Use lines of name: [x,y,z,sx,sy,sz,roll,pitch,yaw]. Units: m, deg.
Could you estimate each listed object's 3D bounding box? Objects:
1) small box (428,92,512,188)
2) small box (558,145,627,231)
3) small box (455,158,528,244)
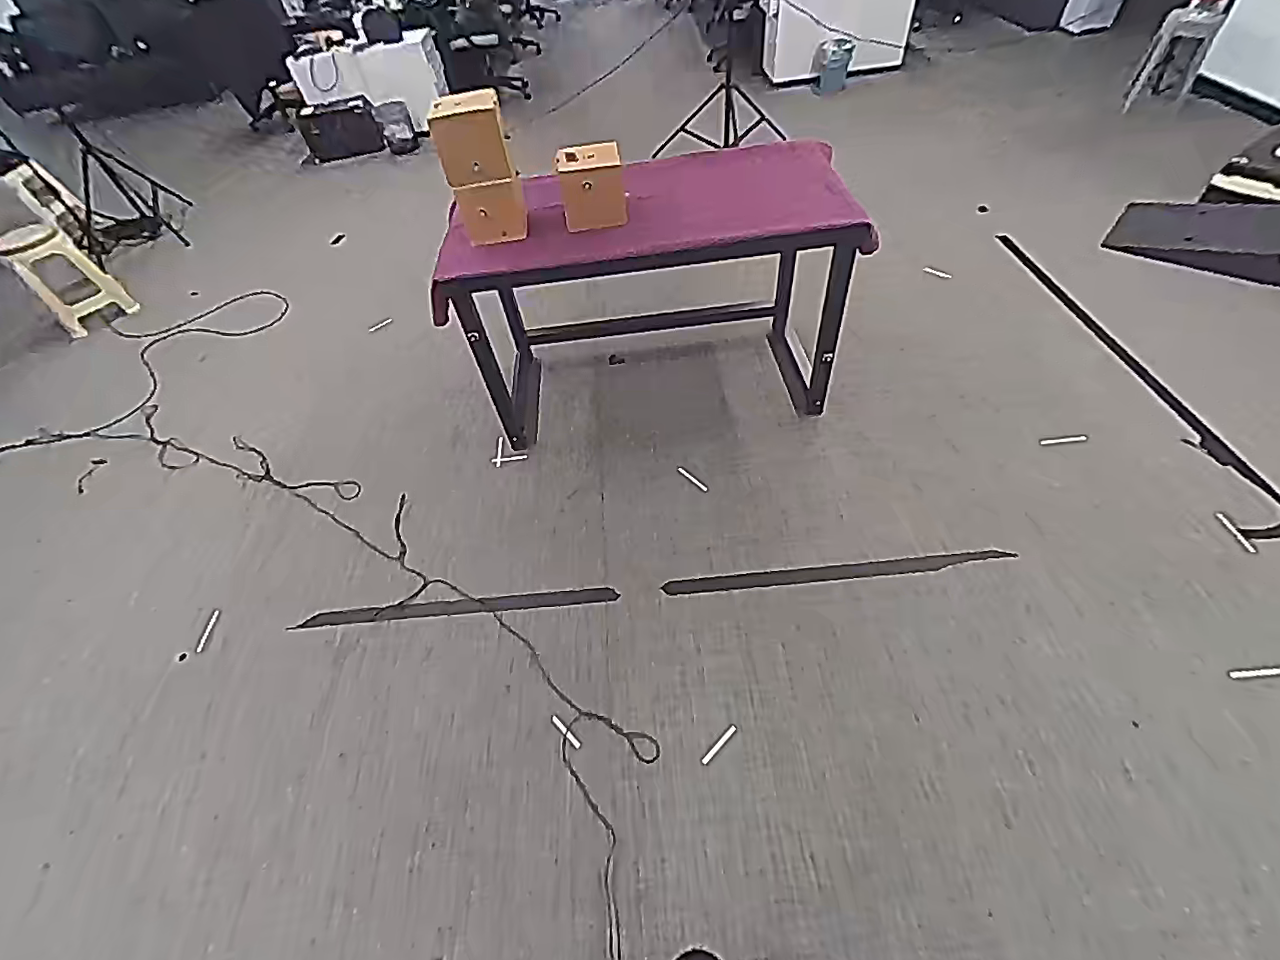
small box: [-0.451,-0.919,1.467,0.179,0.176,0.168,-10,50,-2]
small box: [-0.137,-0.850,1.582,0.179,0.176,0.168,-8,51,0]
small box: [-0.429,-0.811,1.589,0.168,0.176,0.179,-9,50,0]
